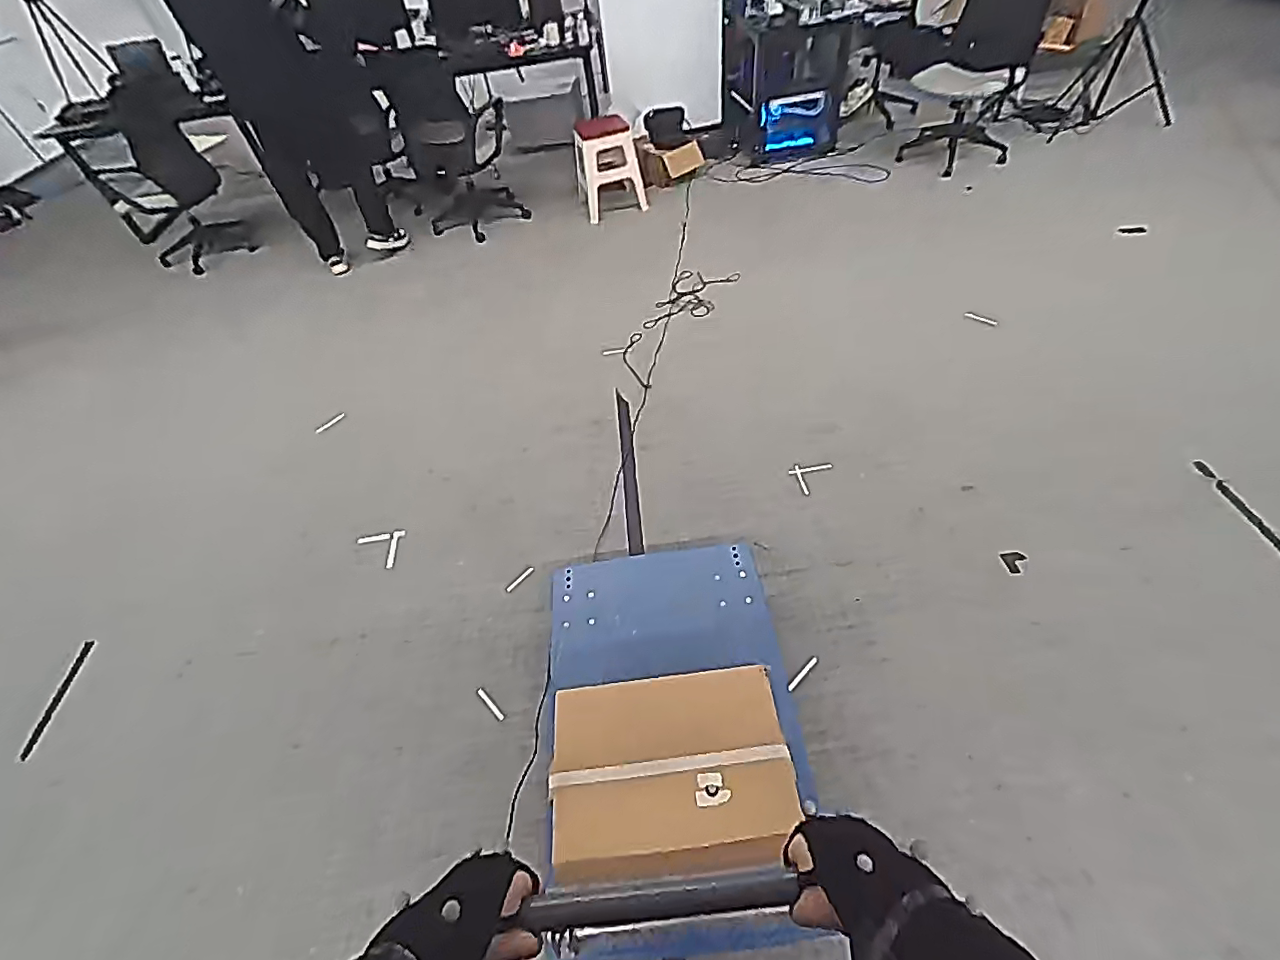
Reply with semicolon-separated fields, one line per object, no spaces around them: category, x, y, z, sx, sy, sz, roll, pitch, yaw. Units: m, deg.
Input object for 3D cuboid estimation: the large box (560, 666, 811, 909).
large box;0.071;0.599;1.050;0.408;0.320;0.320;-8;48;1
